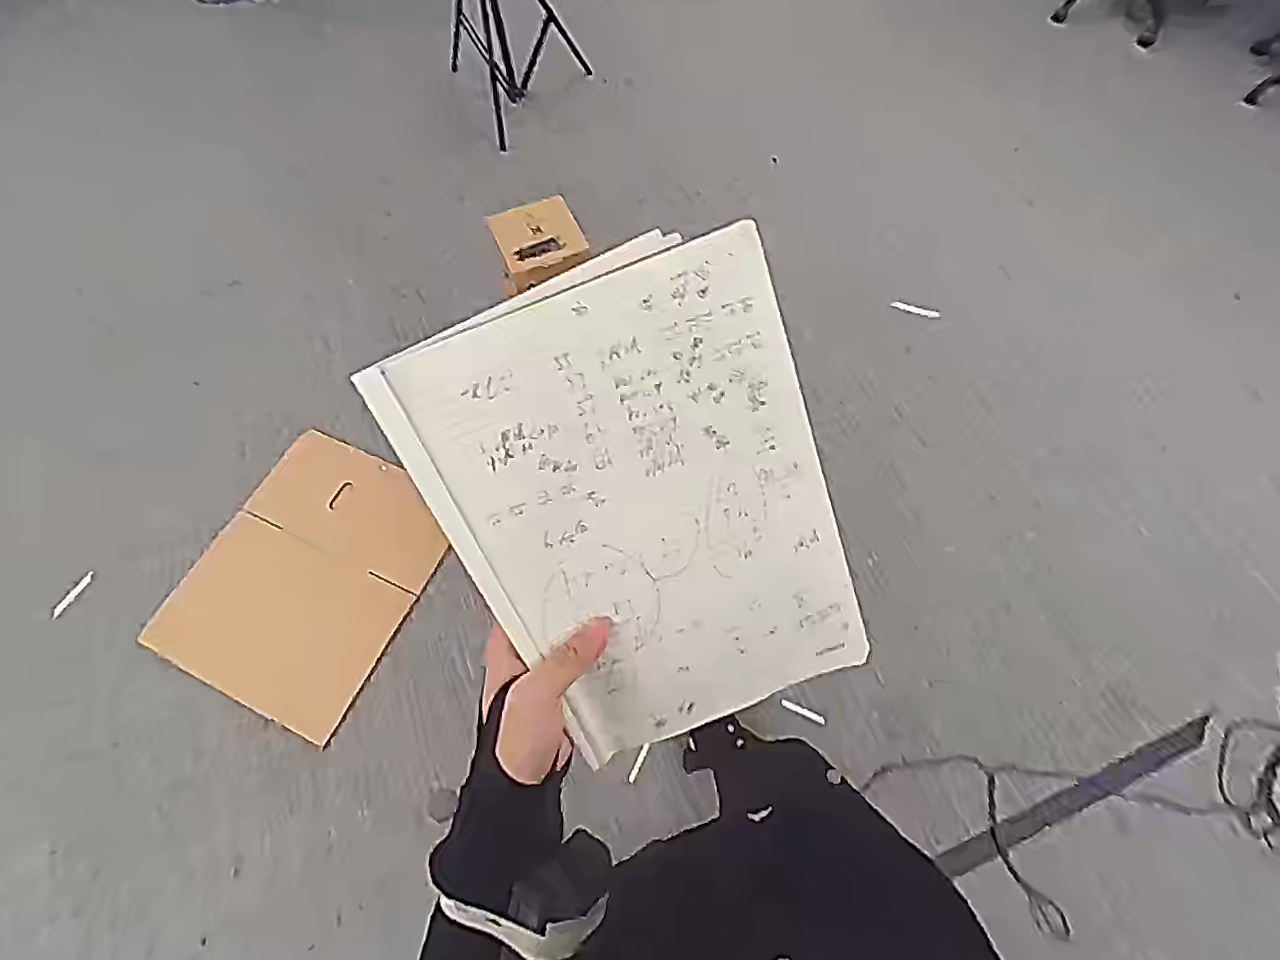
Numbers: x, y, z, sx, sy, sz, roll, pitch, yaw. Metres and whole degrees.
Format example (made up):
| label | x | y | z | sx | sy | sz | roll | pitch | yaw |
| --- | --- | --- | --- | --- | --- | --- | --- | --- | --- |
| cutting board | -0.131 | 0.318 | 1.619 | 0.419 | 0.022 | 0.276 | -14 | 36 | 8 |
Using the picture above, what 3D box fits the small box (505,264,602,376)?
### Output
| label | x | y | z | sx | sy | sz | roll | pitch | yaw |
| --- | --- | --- | --- | --- | --- | --- | --- | --- | --- |
| small box | -0.200 | -0.374 | 1.297 | 0.168 | 0.176 | 0.179 | -25 | 67 | -10 |
